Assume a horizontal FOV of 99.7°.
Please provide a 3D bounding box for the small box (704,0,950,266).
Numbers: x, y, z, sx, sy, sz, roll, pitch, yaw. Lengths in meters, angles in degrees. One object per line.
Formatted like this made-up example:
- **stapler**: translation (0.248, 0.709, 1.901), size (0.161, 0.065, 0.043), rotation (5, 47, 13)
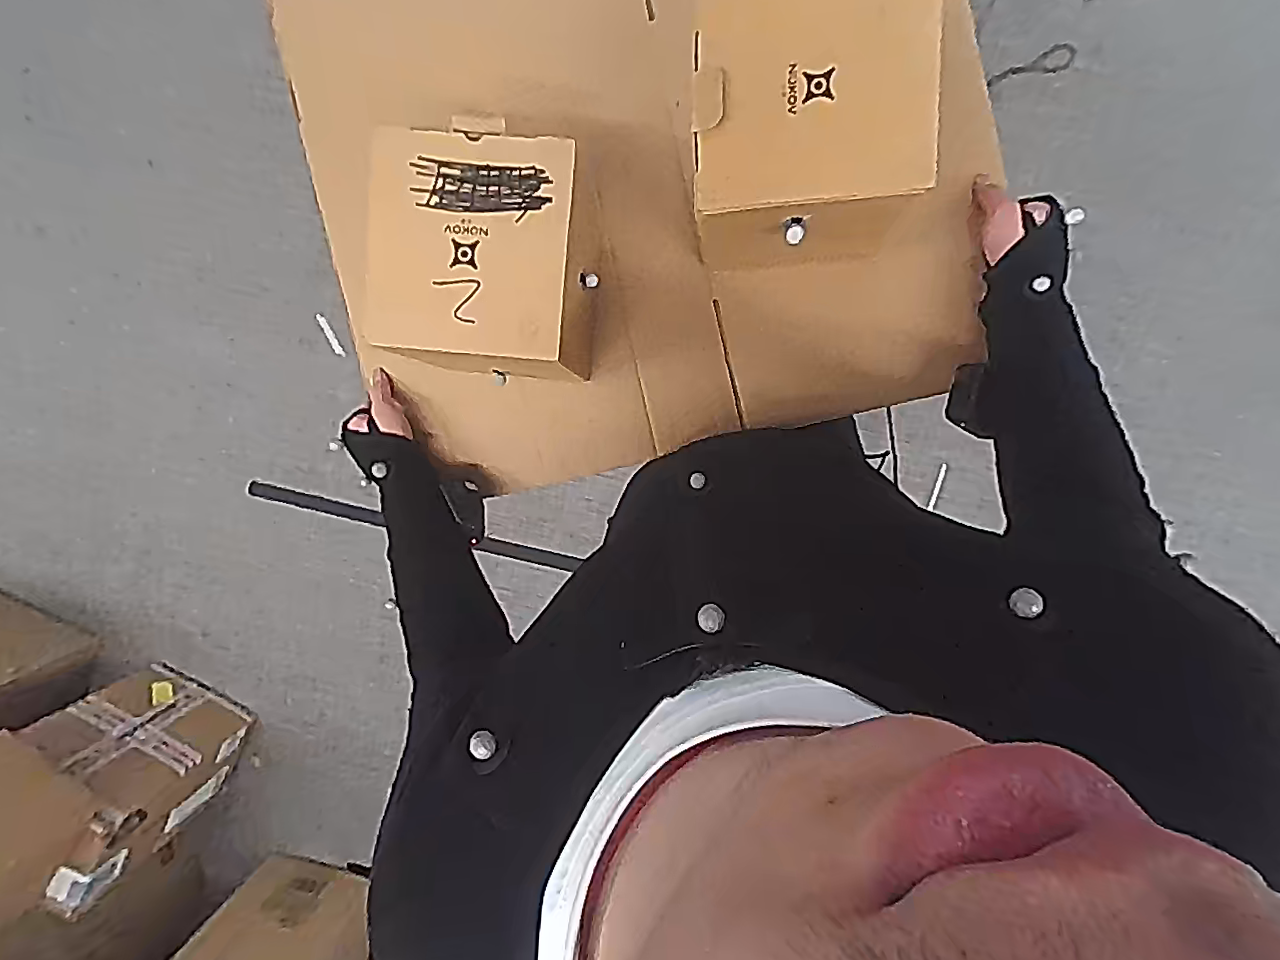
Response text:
- **small box**: translation (0.153, -0.302, 0.488), size (0.179, 0.176, 0.168), rotation (1, 96, 13)
